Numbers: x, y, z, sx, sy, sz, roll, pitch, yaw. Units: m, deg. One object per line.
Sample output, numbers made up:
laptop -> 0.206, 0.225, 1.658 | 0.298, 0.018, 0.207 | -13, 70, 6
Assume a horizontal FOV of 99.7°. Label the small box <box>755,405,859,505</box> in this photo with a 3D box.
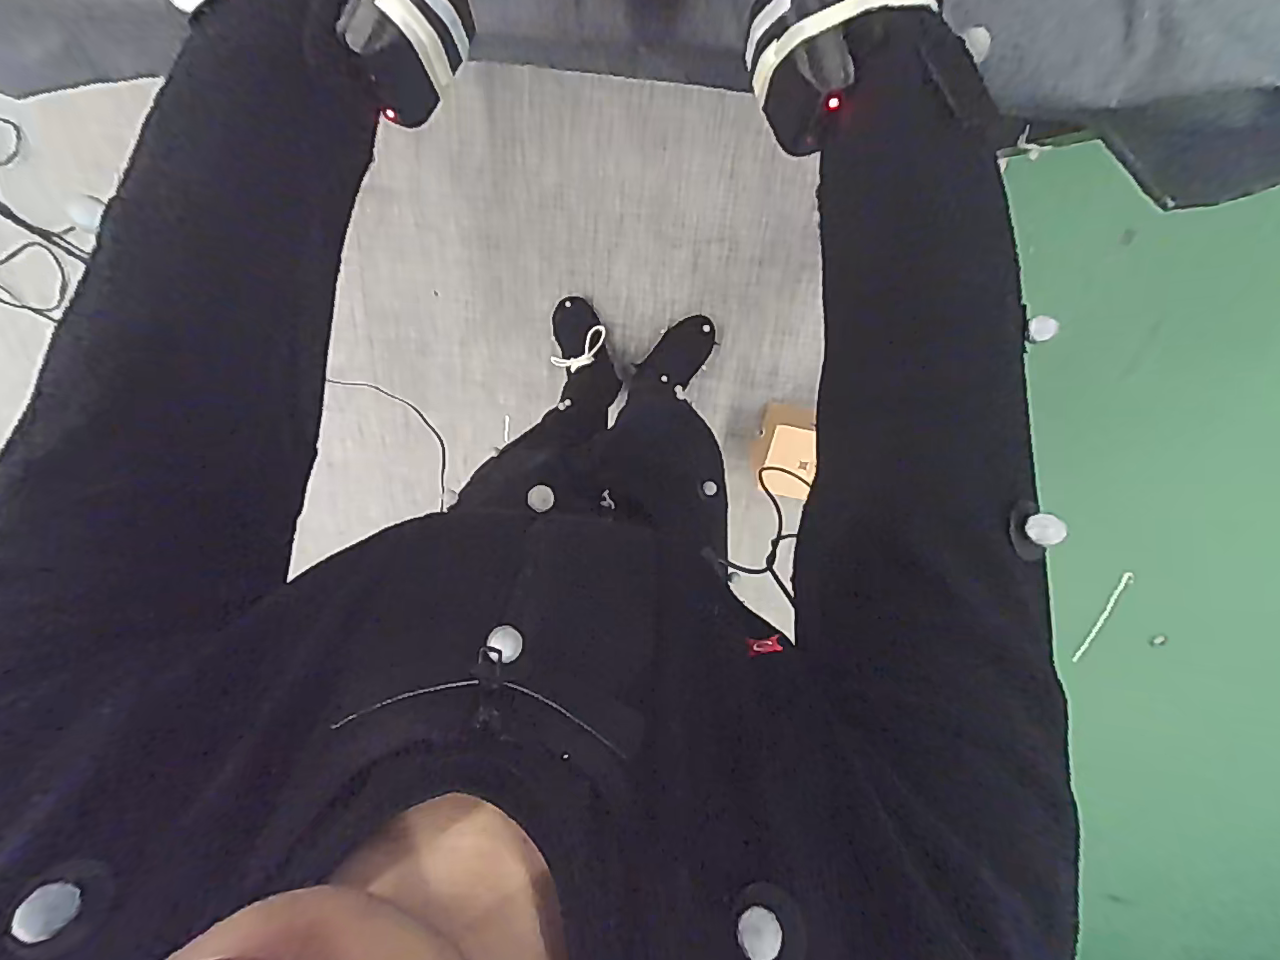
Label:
small box -> 0.377, -0.065, 1.258 | 0.179, 0.176, 0.168 | 12, 115, 2
